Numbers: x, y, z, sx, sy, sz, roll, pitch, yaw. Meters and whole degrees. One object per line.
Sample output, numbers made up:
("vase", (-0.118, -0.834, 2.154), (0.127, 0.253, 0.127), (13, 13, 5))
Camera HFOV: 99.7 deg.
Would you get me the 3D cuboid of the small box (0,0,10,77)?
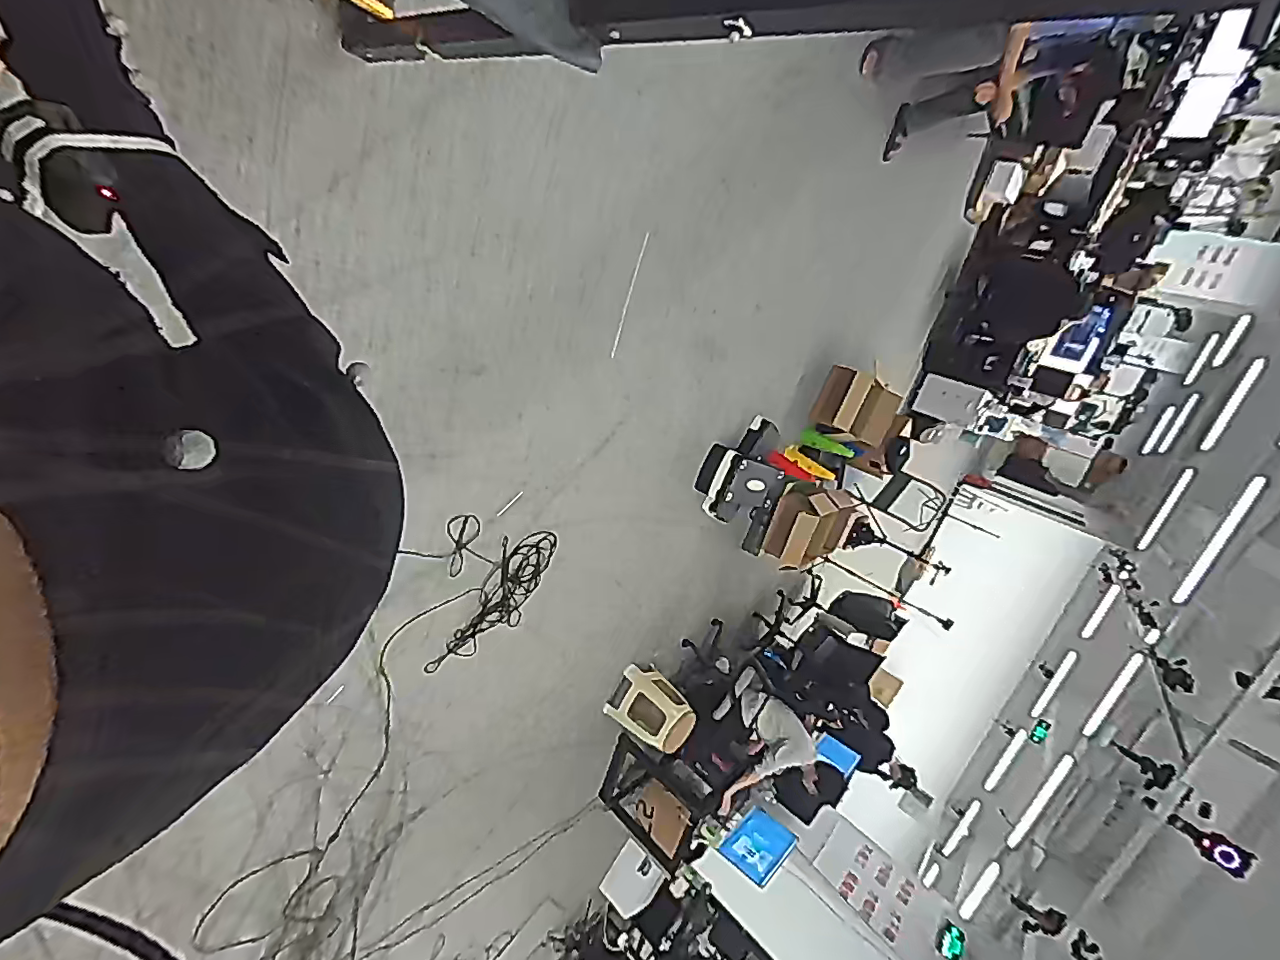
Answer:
("small box", (-0.530, -0.406, 0.337), (0.168, 0.176, 0.179), (-7, 97, -48))
